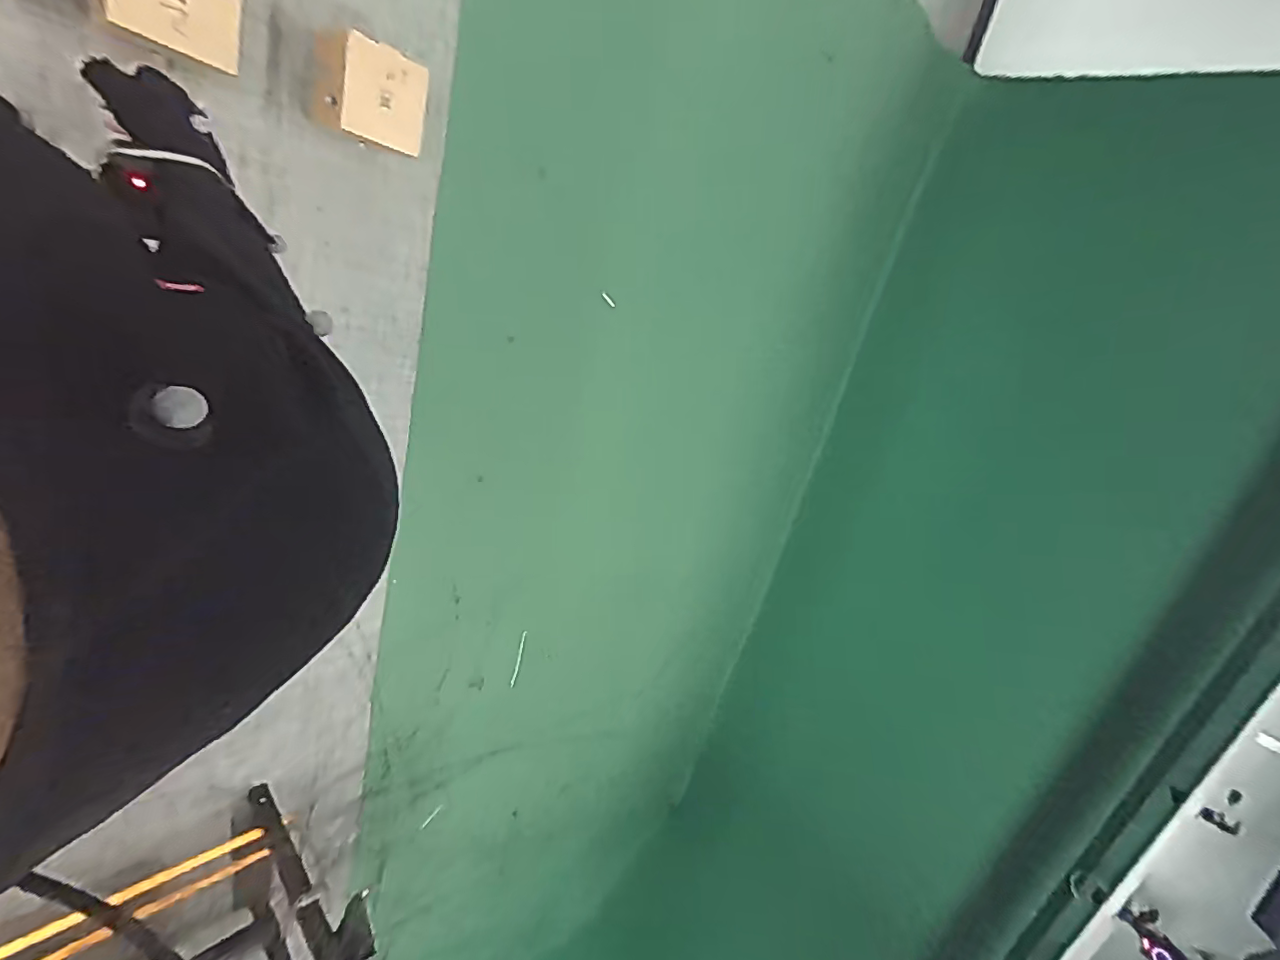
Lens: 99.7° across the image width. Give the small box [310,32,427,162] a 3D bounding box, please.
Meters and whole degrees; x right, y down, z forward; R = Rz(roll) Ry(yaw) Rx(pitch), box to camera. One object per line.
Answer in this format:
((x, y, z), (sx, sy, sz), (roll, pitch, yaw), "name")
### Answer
((-0.585, -0.810, 1.157), (0.168, 0.176, 0.179), (-7, 119, -50), "small box")
